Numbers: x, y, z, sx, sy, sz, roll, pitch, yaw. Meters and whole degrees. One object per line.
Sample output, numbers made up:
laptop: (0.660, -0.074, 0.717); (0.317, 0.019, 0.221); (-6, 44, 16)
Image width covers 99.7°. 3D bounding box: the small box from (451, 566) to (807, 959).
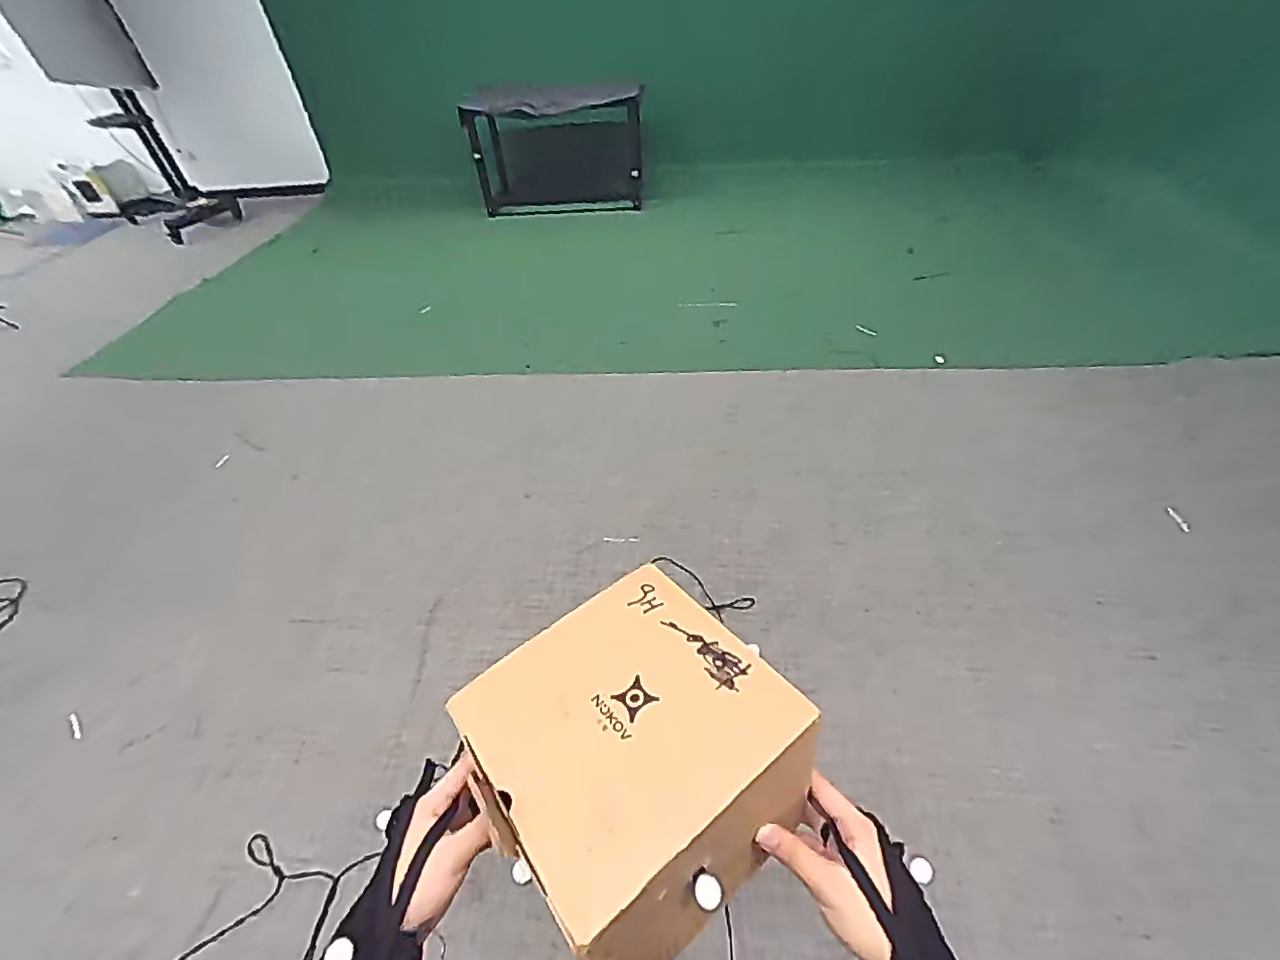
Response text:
small box: (-0.001, 0.204, 0.391); (0.179, 0.176, 0.168); (-31, 44, -24)
